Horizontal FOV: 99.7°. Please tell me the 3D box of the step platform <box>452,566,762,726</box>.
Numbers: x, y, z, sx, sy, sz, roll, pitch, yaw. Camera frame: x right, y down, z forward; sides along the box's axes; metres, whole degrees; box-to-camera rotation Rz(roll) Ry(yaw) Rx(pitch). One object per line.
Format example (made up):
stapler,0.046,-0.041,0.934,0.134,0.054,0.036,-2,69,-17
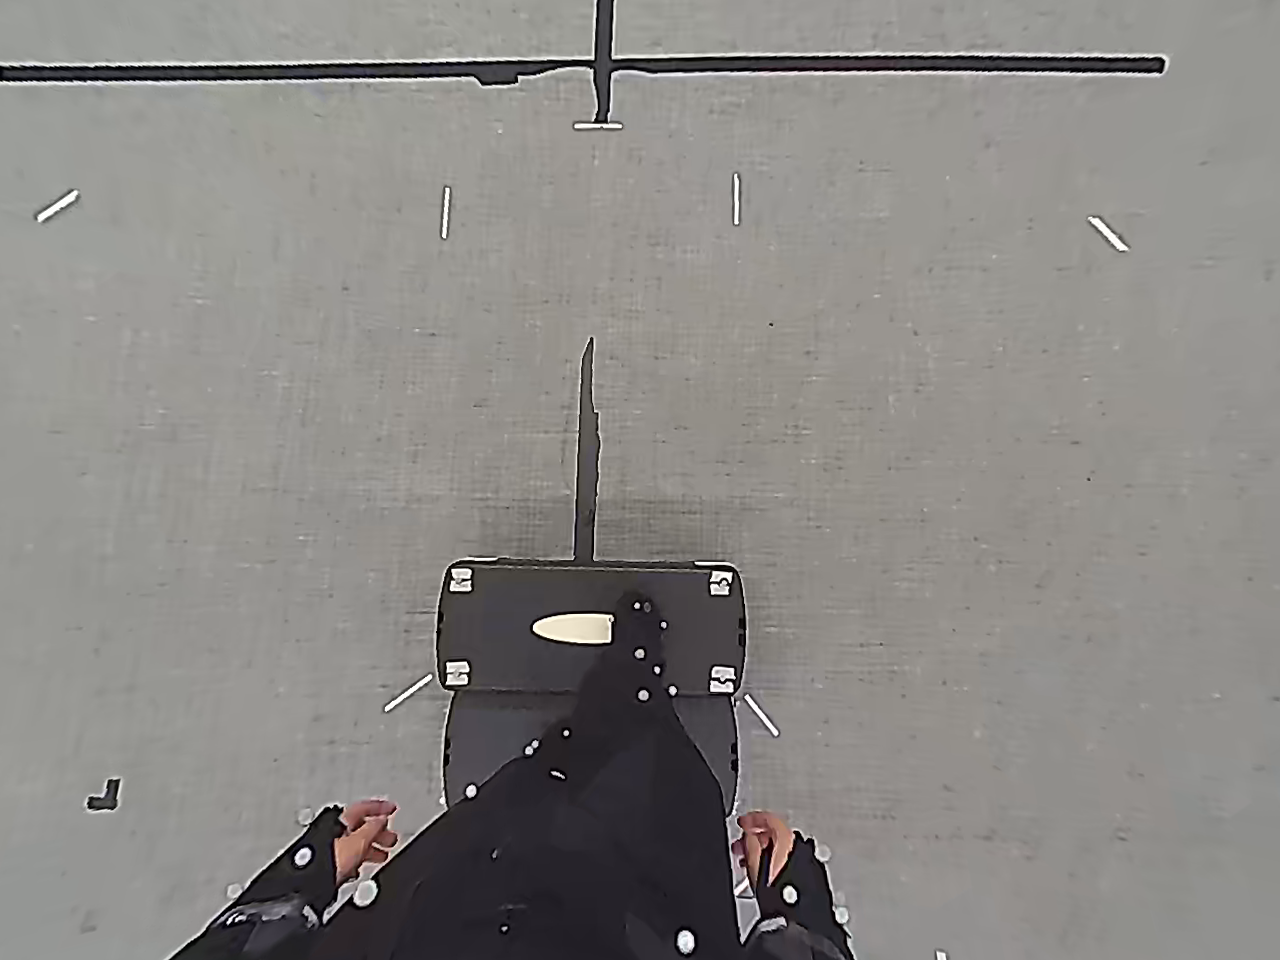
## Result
step platform,-0.070,0.369,1.238,0.684,0.204,0.286,5,81,0
